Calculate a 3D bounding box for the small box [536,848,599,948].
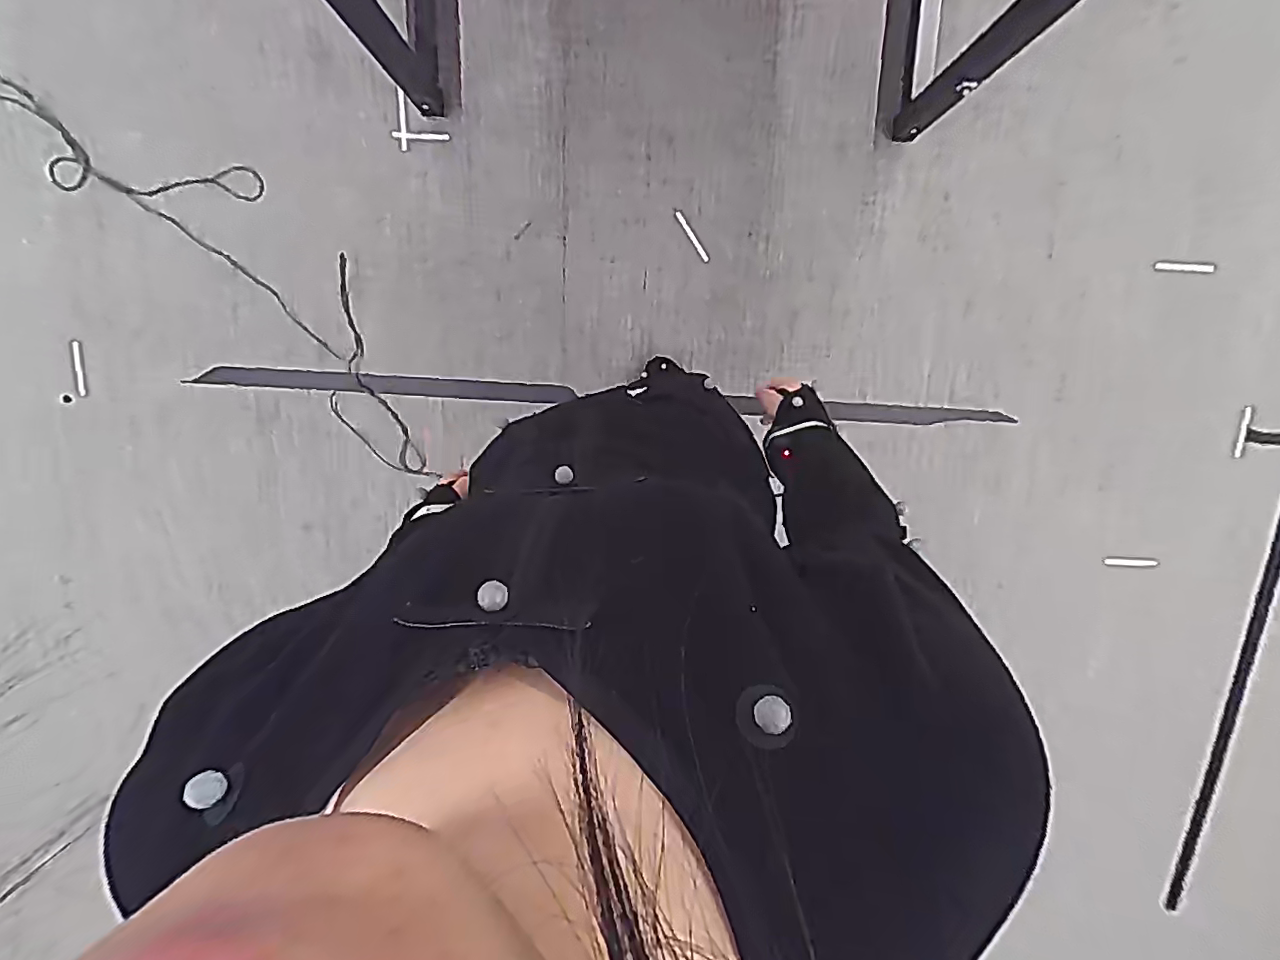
[{"bbox_3d":[-0.212,1.248,1.621,0.168,0.176,0.179,-3,102,-1],"label":"small box"}]
